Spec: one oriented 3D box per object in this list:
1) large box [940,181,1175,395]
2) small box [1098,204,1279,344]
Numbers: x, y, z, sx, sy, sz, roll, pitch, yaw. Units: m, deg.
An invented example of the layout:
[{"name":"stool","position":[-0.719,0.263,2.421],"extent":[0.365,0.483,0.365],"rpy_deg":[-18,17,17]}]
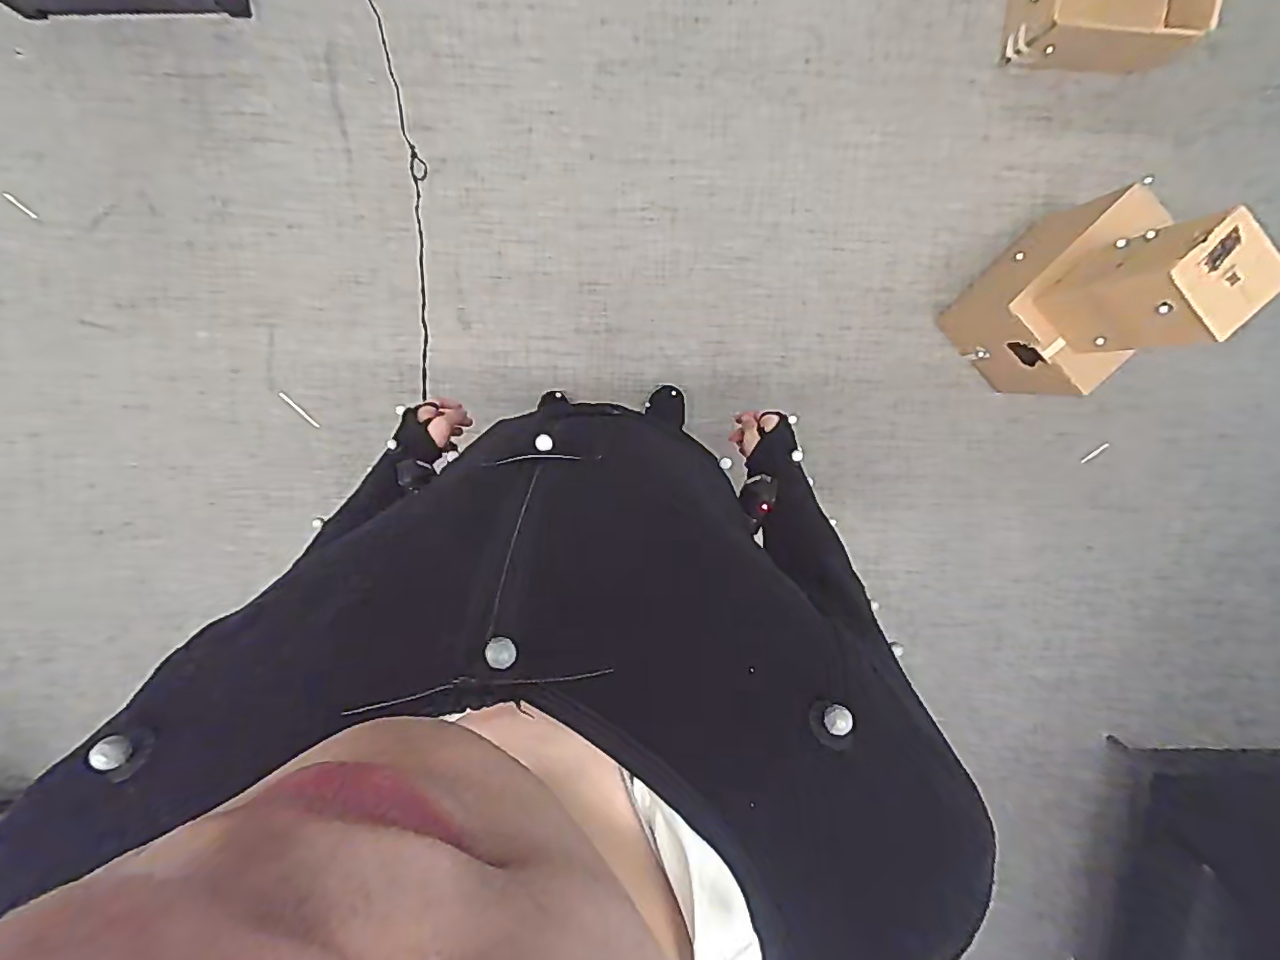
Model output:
[{"name":"large box","position":[1.116,-0.473,1.436],"extent":[0.320,0.320,0.408],"rpy_deg":[43,95,-9]},{"name":"small box","position":[1.048,-0.378,1.035],"extent":[0.168,0.176,0.179],"rpy_deg":[-44,98,6]}]
